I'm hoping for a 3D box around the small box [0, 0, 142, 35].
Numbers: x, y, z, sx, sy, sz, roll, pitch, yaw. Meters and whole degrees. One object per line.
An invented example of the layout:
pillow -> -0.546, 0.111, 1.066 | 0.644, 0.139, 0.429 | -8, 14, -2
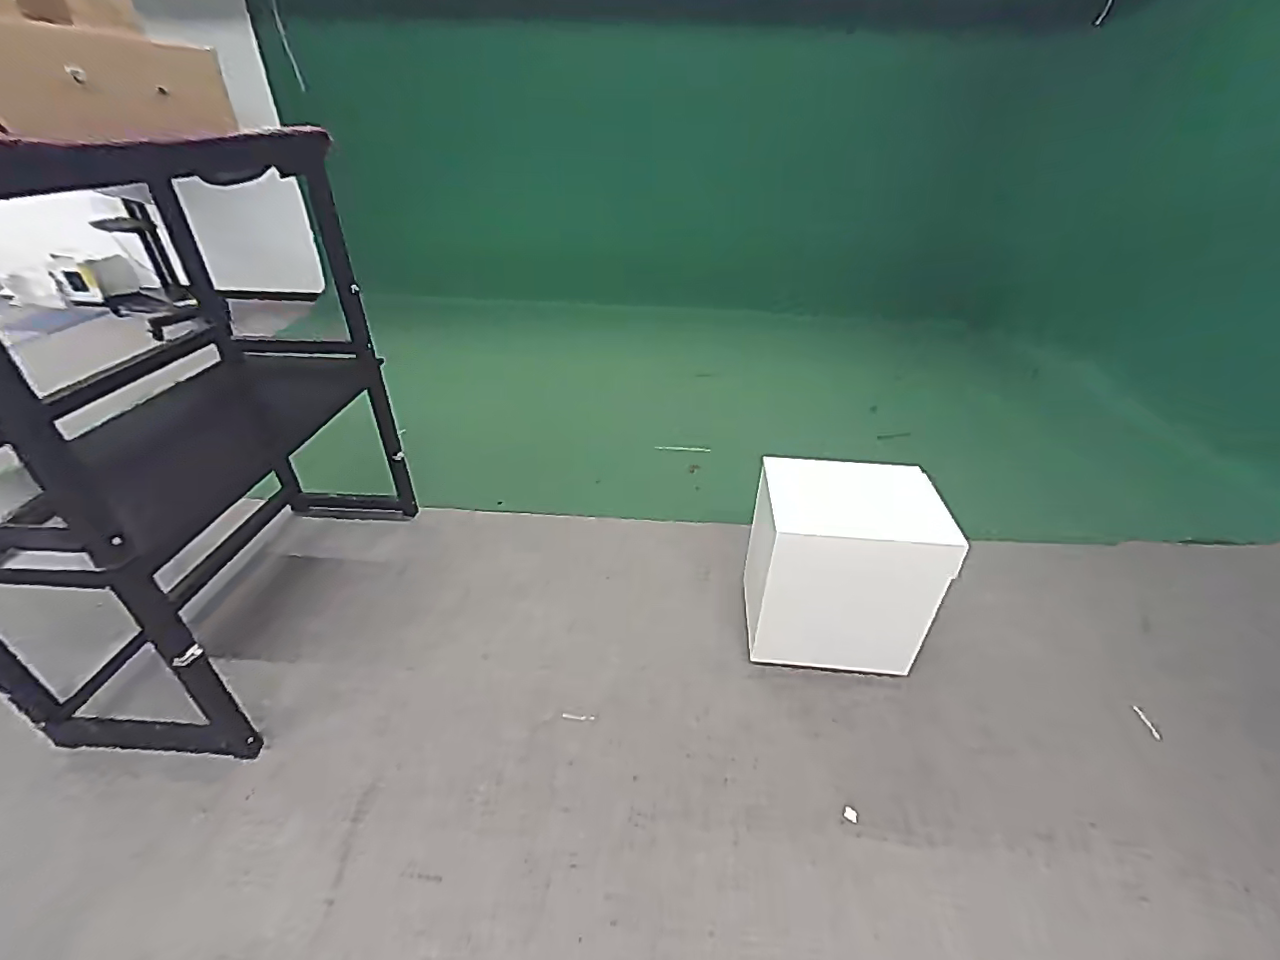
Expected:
small box -> -1.228, -1.054, 1.135 | 0.179, 0.176, 0.168 | 3, 36, 4
